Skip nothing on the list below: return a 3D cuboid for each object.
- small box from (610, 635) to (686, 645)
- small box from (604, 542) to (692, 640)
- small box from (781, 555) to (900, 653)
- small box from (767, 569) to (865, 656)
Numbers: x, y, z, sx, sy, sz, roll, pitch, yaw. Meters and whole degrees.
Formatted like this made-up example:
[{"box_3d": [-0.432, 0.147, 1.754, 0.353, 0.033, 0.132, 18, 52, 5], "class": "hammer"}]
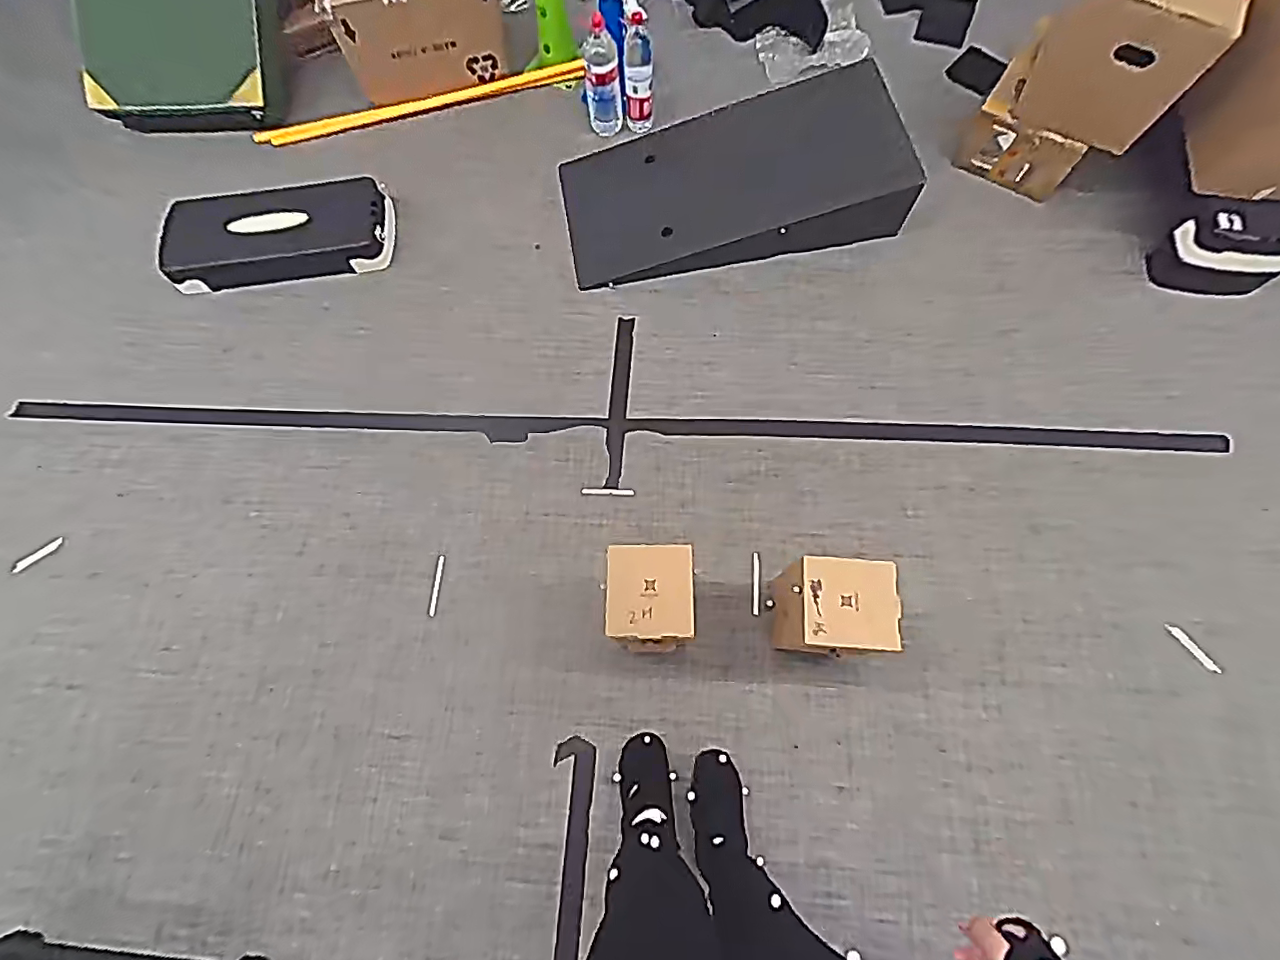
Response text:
[{"box_3d": [0.021, 0.287, 1.243, 0.168, 0.176, 0.179, -2, 71, 1], "class": "small box"}, {"box_3d": [0.018, 0.228, 1.089, 0.168, 0.176, 0.179, 0, 72, 2], "class": "small box"}, {"box_3d": [0.389, 0.251, 1.073, 0.179, 0.176, 0.168, 4, 71, 3], "class": "small box"}, {"box_3d": [0.396, 0.303, 1.228, 0.179, 0.176, 0.168, 5, 72, 4], "class": "small box"}]
